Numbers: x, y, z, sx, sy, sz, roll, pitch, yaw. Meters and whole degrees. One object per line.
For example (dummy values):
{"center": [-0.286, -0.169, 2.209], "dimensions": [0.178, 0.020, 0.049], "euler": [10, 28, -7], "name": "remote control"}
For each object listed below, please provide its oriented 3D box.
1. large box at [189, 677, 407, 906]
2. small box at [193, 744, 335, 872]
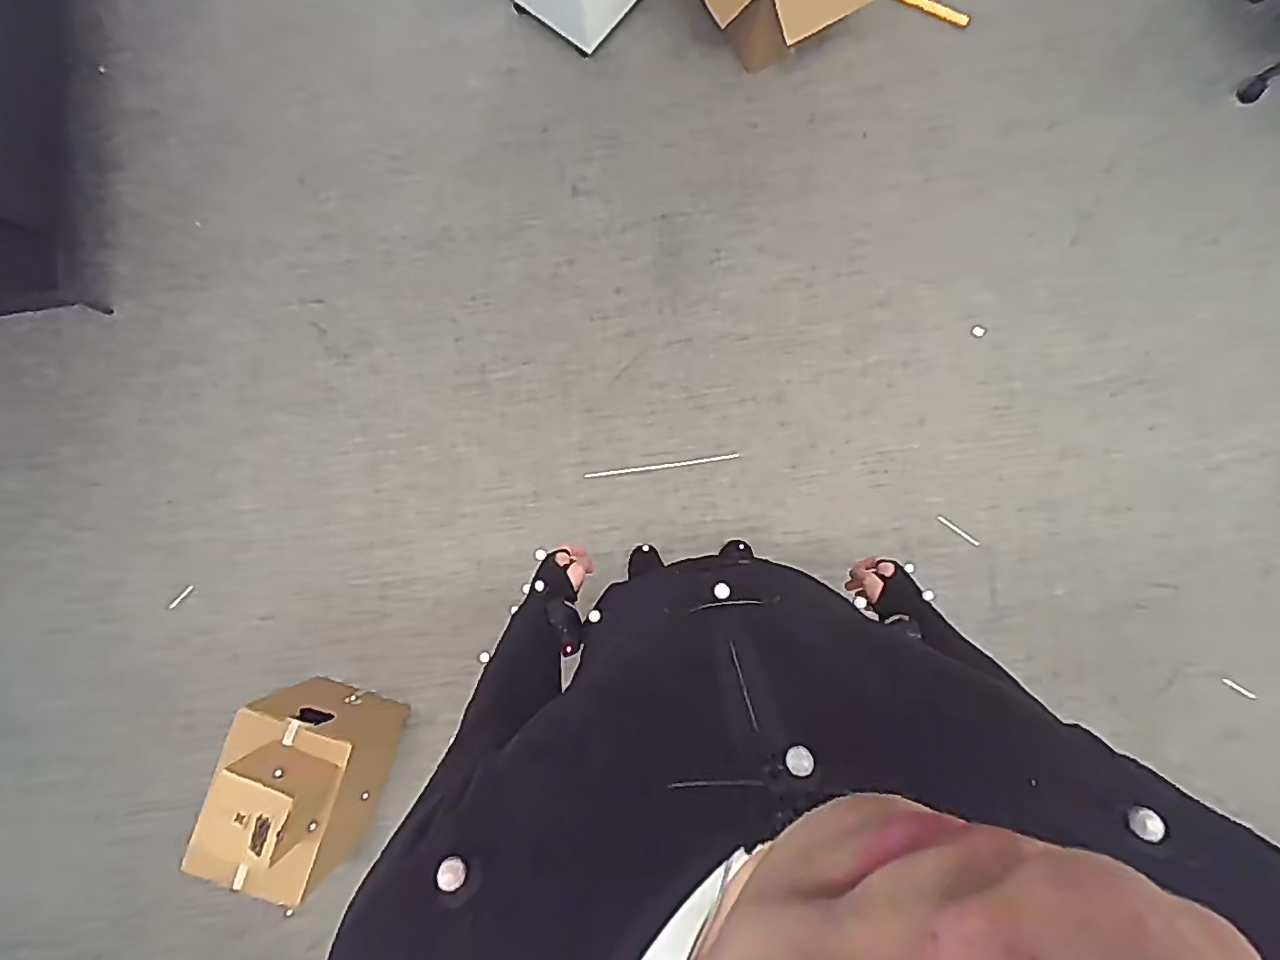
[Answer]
{"center": [-0.895, 0.806, 1.467], "dimensions": [0.320, 0.320, 0.408], "euler": [16, 85, 4], "name": "large box"}
{"center": [-0.839, 0.730, 1.226], "dimensions": [0.179, 0.176, 0.168], "euler": [20, 85, 3], "name": "small box"}
